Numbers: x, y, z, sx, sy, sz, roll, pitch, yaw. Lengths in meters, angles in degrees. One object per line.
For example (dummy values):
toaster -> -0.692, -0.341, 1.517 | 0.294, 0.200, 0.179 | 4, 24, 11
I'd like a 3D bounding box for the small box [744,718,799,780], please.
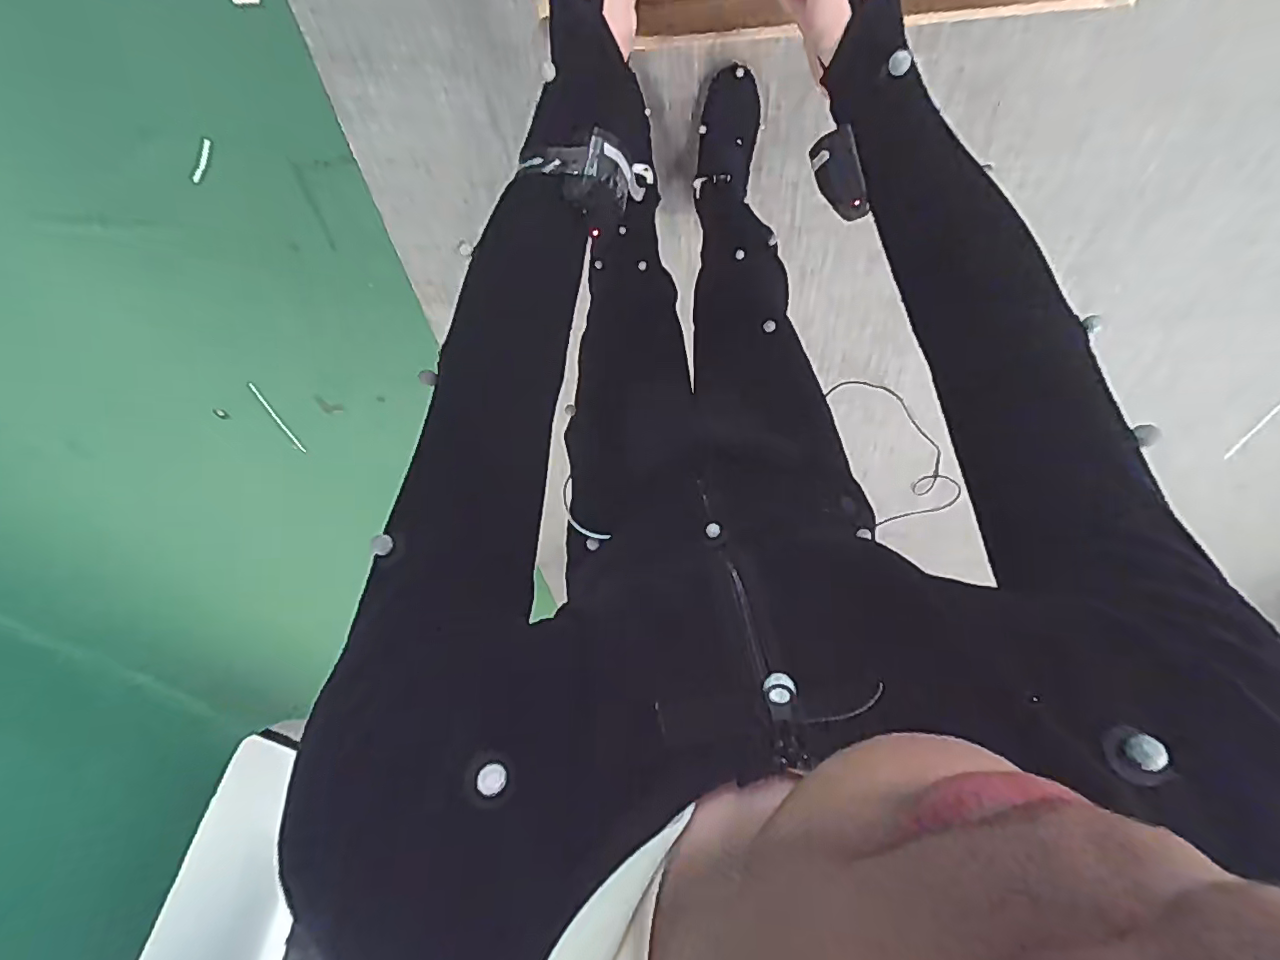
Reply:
small box -> 0.464, 0.959, 1.928 | 0.179, 0.176, 0.168 | -5, 141, 9
